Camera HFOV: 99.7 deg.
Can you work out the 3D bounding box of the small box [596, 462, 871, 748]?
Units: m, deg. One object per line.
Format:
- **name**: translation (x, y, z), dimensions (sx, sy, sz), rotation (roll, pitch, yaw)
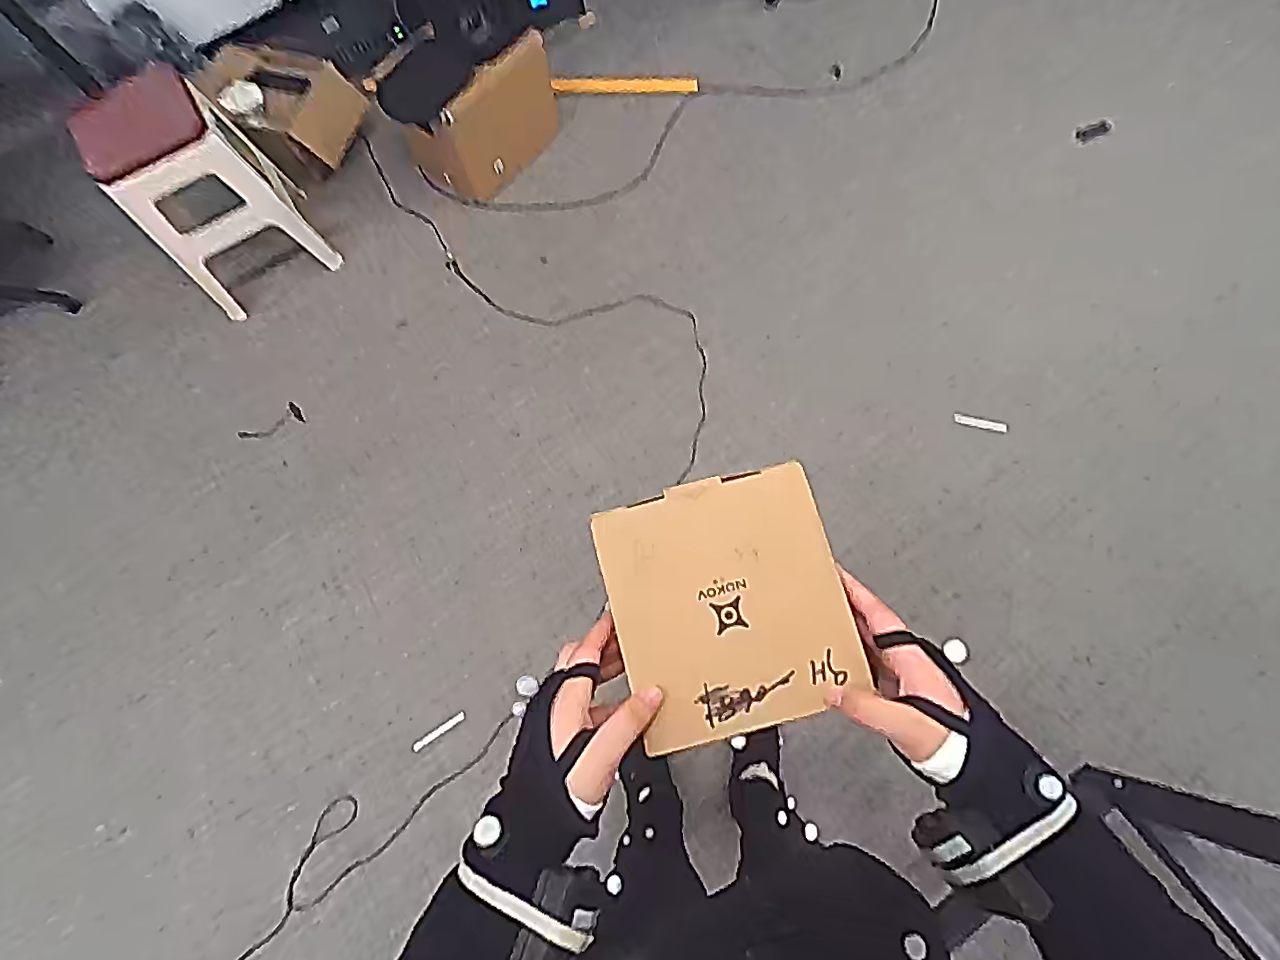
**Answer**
- **small box**: translation (0.067, 0.102, 0.472), dimensions (0.168, 0.176, 0.179), rotation (-15, 79, 1)
